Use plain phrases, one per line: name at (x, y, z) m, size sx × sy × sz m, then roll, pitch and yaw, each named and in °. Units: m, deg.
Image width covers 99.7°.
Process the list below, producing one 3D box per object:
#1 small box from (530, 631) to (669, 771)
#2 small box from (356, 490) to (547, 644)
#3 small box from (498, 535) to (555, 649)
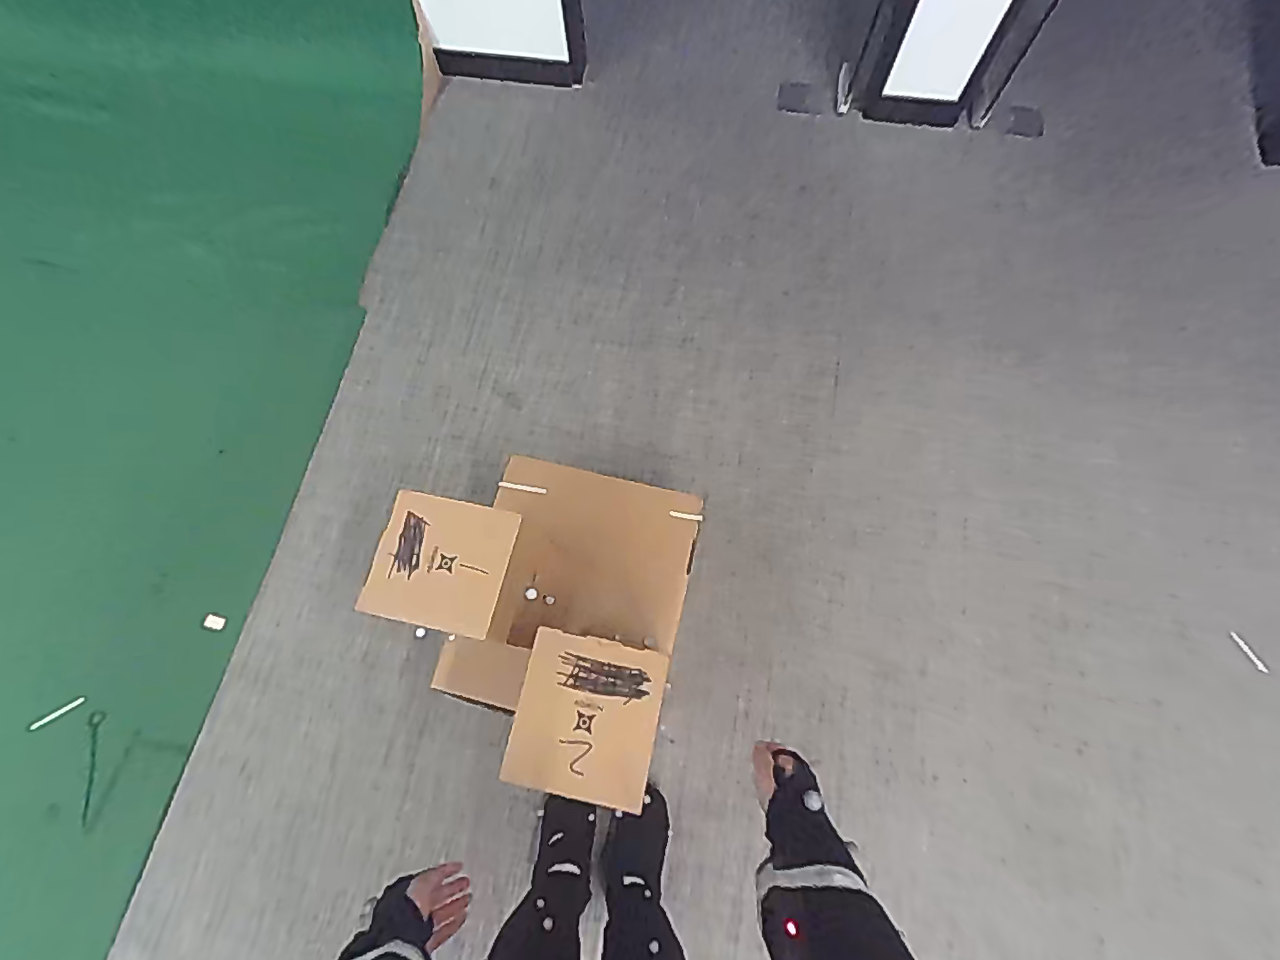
small box at (-0.056, 0.342, 0.861) m, size 0.179 × 0.176 × 0.168 m, roll 10°, pitch 71°, yaw 4°
small box at (-0.248, 0.130, 0.760) m, size 0.179 × 0.176 × 0.168 m, roll 11°, pitch 72°, yaw 6°
small box at (-0.250, 0.180, 0.919) m, size 0.168 × 0.176 × 0.179 m, roll 12°, pitch 71°, yaw 5°
